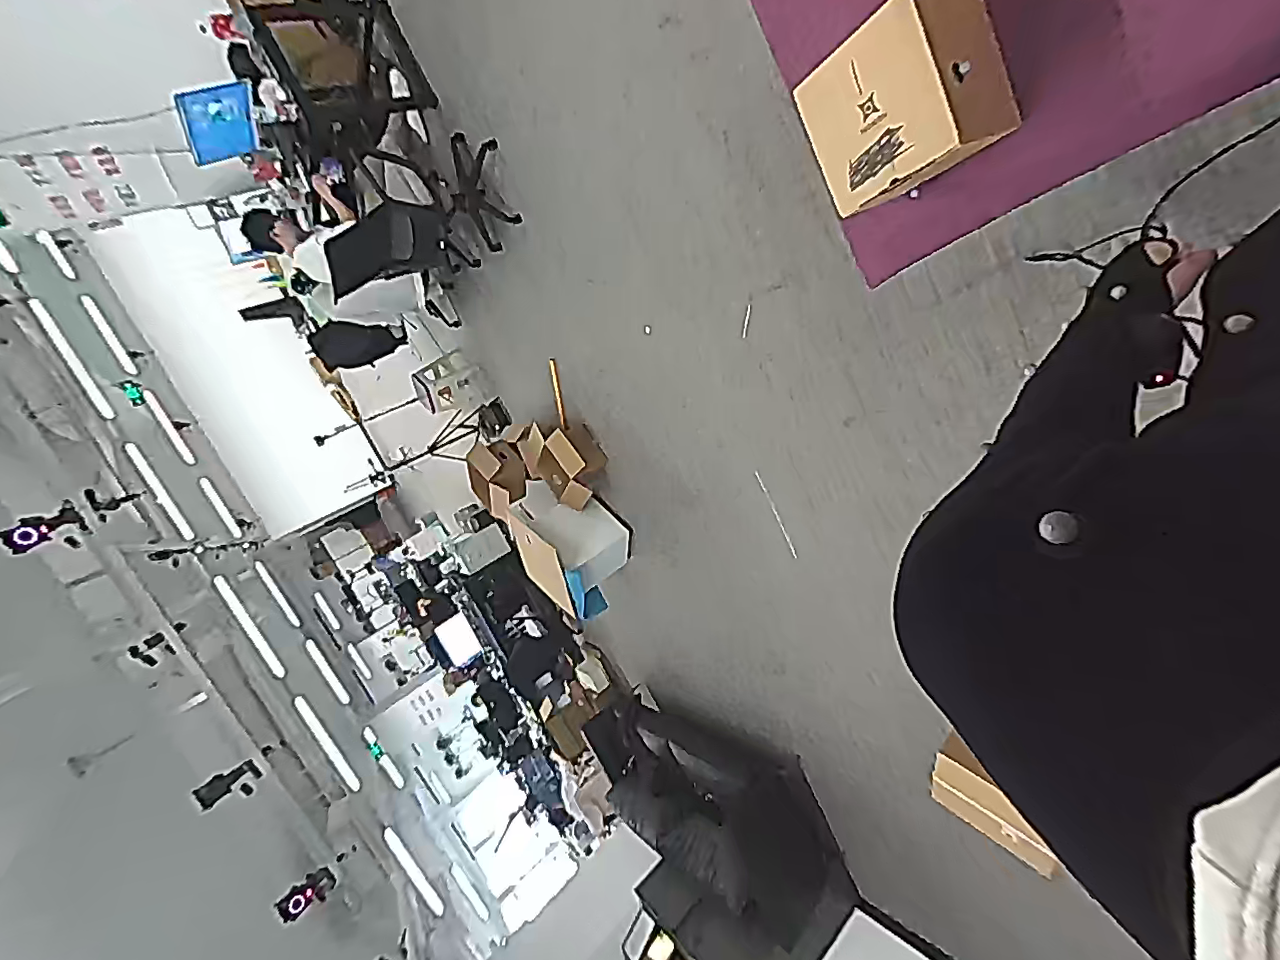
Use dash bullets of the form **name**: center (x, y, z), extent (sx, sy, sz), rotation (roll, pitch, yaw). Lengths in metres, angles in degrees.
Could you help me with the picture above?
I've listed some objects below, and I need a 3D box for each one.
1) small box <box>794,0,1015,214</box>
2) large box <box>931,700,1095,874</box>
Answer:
- **small box**: center (0.337, -0.477, 0.687), extent (0.168, 0.176, 0.179), rotation (-10, 108, 59)
- **large box**: center (1.356, 1.108, 1.994), extent (0.408, 0.320, 0.320), rotation (22, 136, 45)
